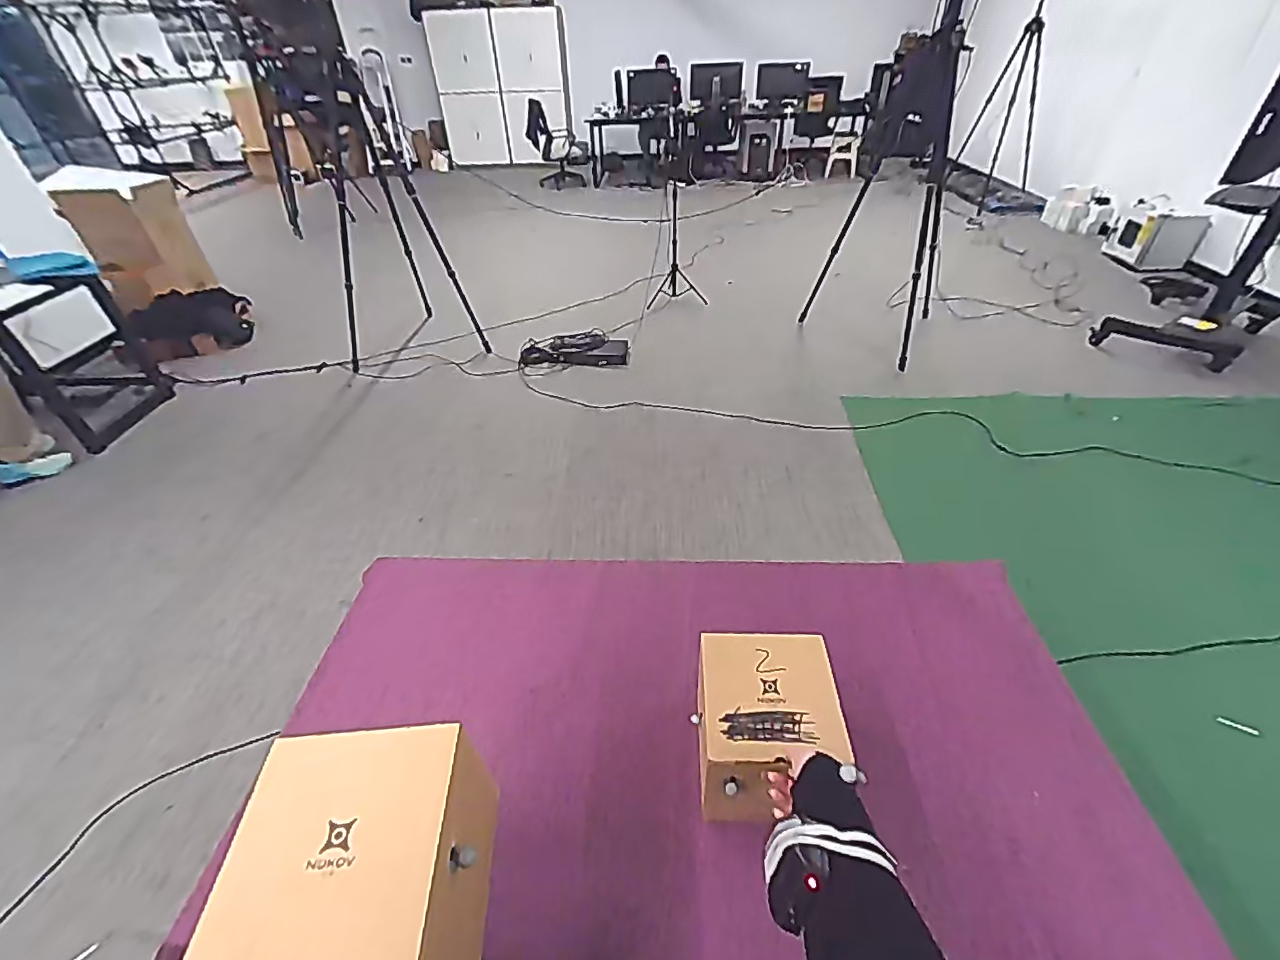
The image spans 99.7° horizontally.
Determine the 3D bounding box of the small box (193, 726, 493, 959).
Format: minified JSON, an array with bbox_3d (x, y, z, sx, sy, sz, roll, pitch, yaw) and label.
[{"bbox_3d":[-0.238,0.350,0.489,0.168,0.176,0.179,-4,43,-2],"label":"small box"}]
